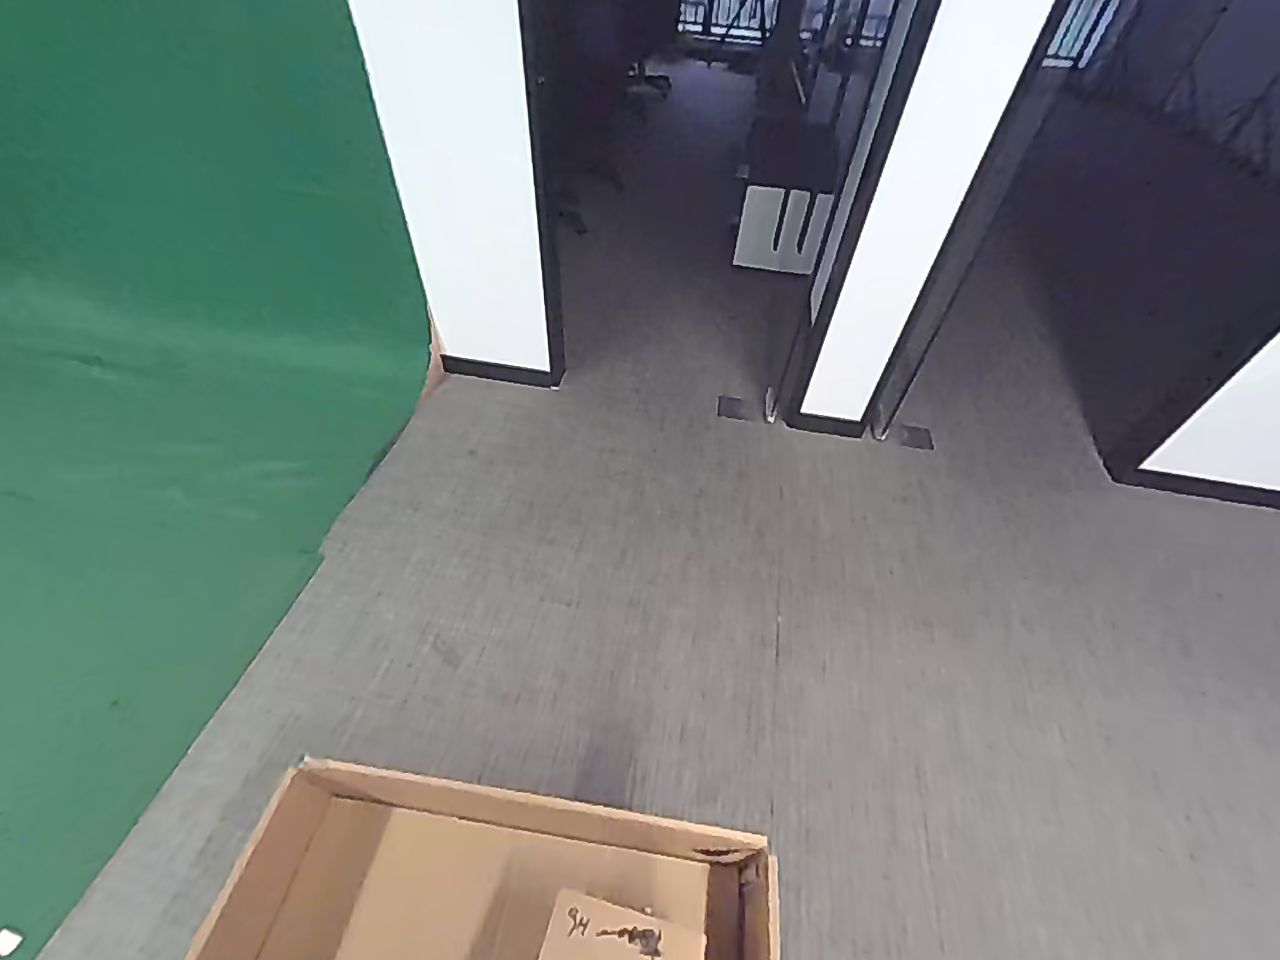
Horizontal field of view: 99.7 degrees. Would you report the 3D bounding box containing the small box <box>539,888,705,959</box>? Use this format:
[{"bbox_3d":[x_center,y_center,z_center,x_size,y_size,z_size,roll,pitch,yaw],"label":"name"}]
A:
[{"bbox_3d":[-0.037,0.579,0.570,0.168,0.176,0.179,14,41,7],"label":"small box"}]
